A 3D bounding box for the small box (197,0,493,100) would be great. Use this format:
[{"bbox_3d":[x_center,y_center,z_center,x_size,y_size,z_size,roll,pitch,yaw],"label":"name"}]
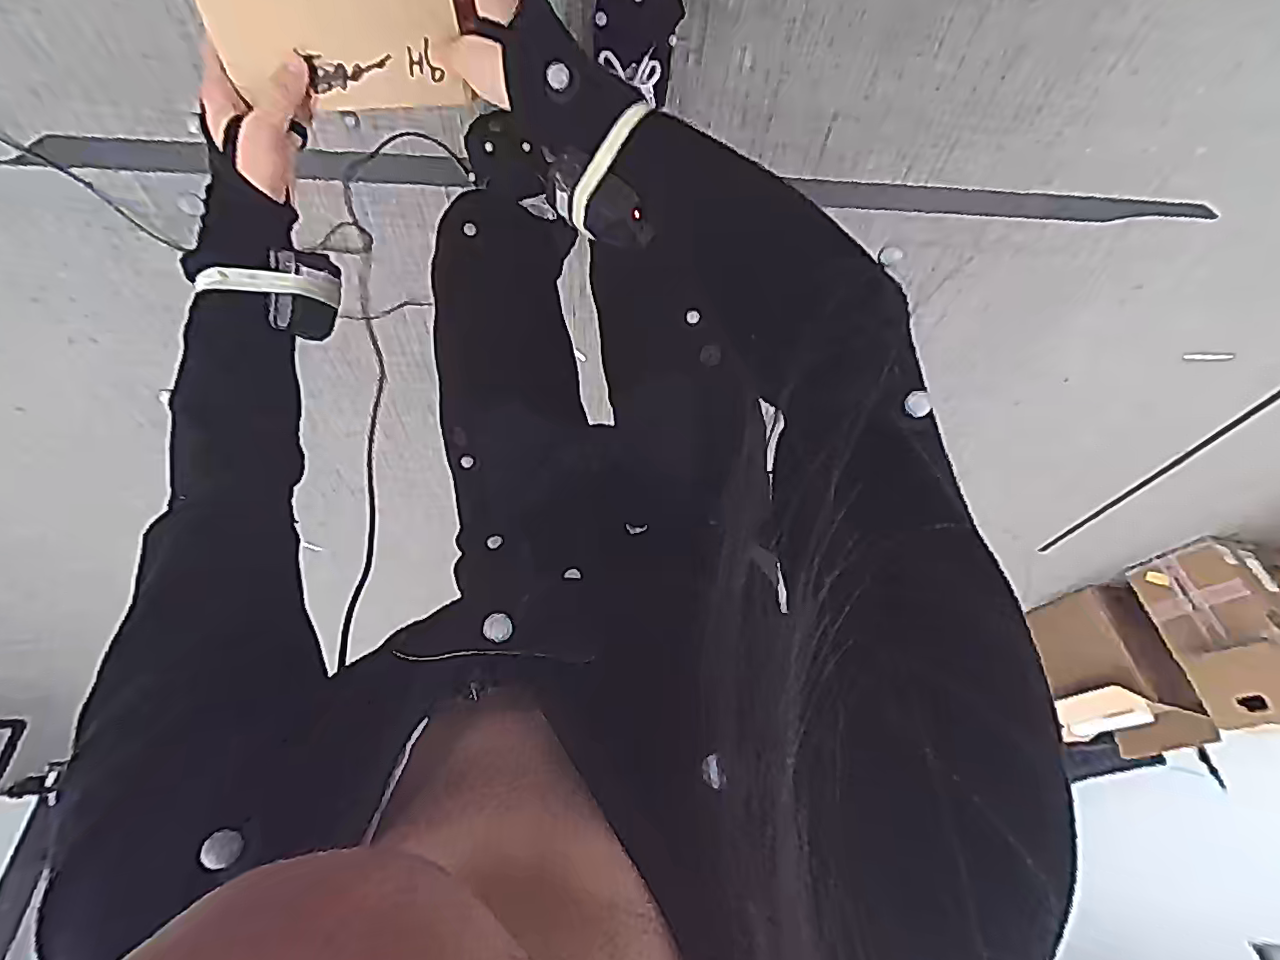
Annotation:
[{"bbox_3d":[-0.212,-0.394,0.391,0.168,0.176,0.179,-4,133,-2],"label":"small box"}]
